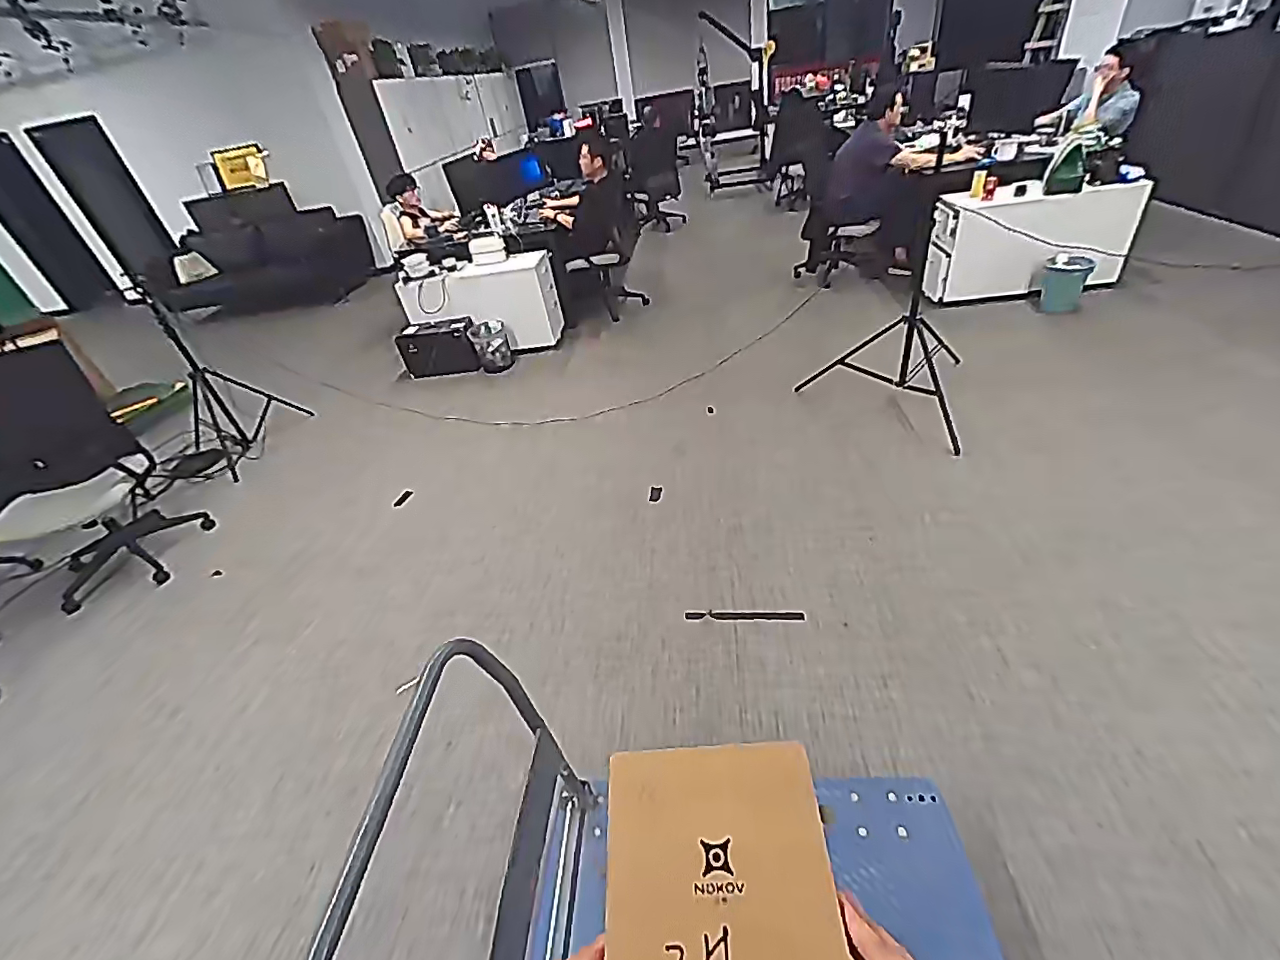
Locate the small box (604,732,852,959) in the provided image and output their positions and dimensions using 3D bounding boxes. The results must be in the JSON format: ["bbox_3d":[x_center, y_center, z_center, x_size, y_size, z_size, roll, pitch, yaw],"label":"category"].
[{"bbox_3d":[0.068,0.333,0.450,0.168,0.176,0.179,-7,45,6],"label":"small box"}]
